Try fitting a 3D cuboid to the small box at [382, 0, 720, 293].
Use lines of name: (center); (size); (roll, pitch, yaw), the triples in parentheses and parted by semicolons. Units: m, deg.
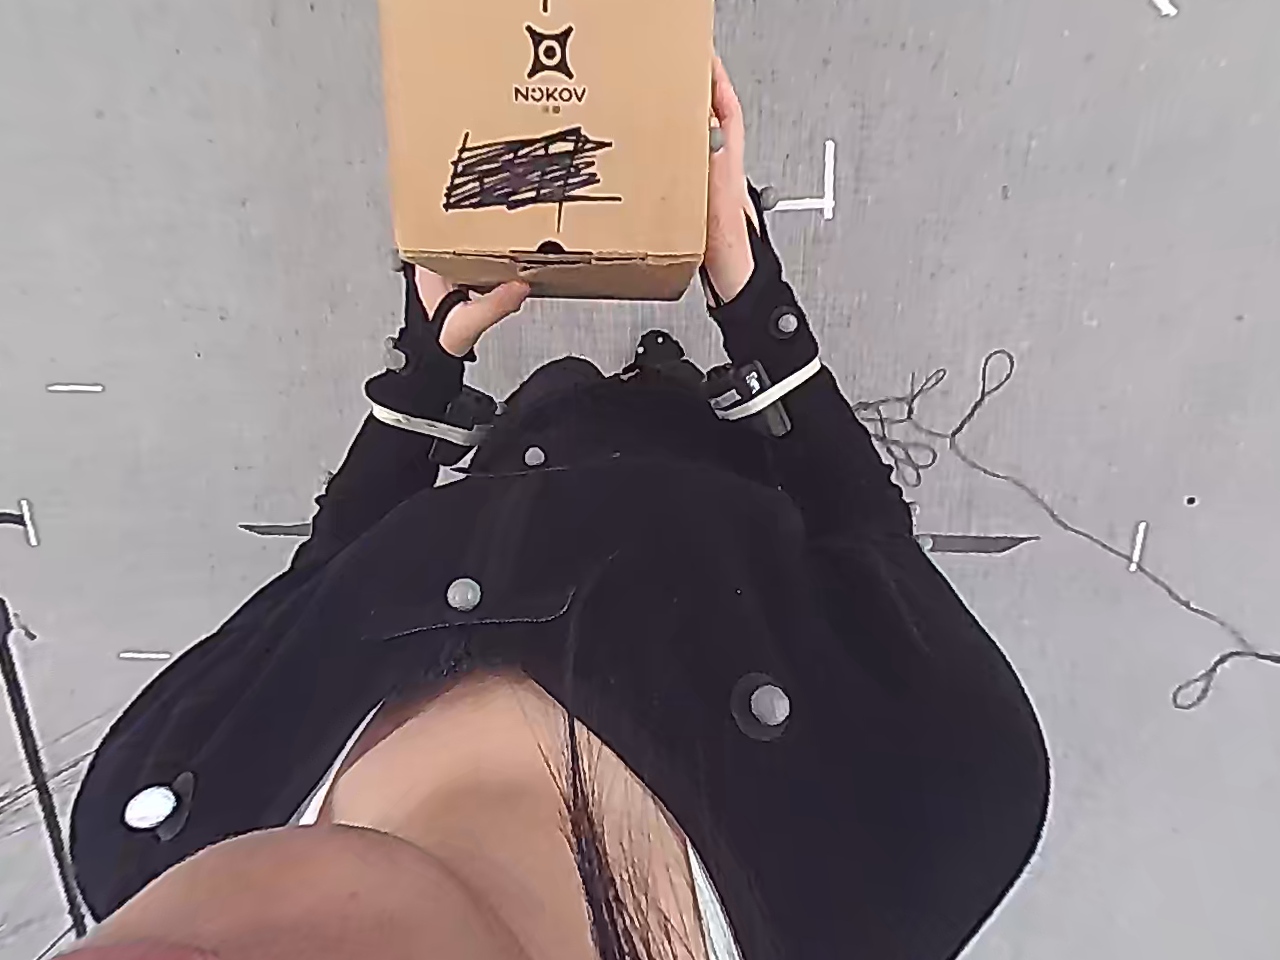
small box: (-0.043, -0.220, 0.343); (0.168, 0.176, 0.179); (1, 101, -1)
